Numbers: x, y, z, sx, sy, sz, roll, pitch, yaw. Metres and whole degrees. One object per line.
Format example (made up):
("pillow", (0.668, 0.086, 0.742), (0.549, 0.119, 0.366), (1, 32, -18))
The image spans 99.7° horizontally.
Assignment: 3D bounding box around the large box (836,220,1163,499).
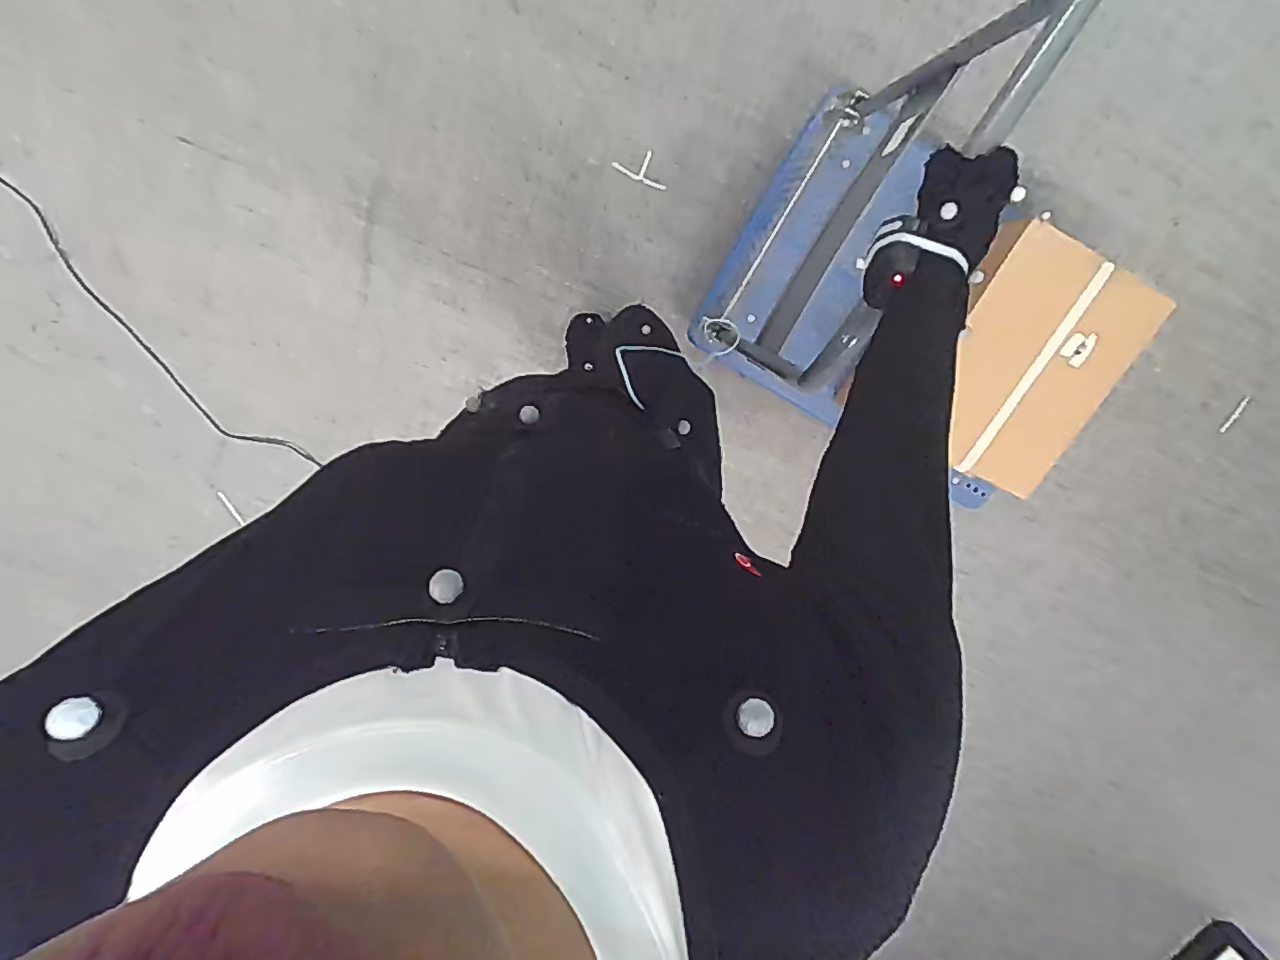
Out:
("large box", (0.675, -0.237, 1.098), (0.320, 0.320, 0.408), (25, 106, -10))
